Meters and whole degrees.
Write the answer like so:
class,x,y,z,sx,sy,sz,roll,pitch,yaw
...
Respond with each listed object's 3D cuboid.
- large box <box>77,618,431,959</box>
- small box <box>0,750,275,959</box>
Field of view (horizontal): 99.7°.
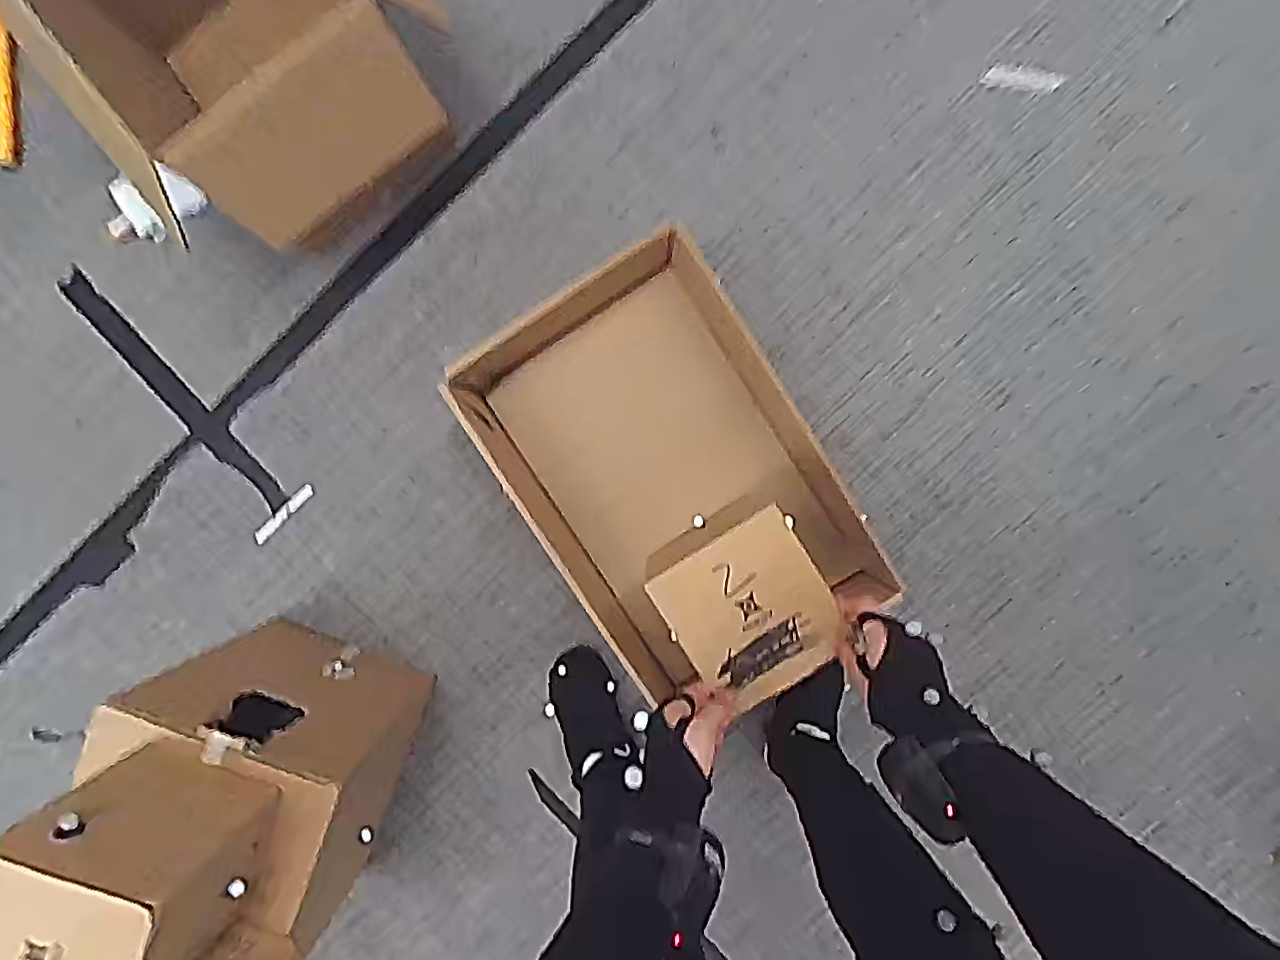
class,x,y,z,sx,sy,sz,roll,pitch,yaw
large box,-0.570,0.483,0.818,0.320,0.320,0.408,20,95,0
small box,-0.538,0.418,0.566,0.179,0.176,0.168,19,96,-2
